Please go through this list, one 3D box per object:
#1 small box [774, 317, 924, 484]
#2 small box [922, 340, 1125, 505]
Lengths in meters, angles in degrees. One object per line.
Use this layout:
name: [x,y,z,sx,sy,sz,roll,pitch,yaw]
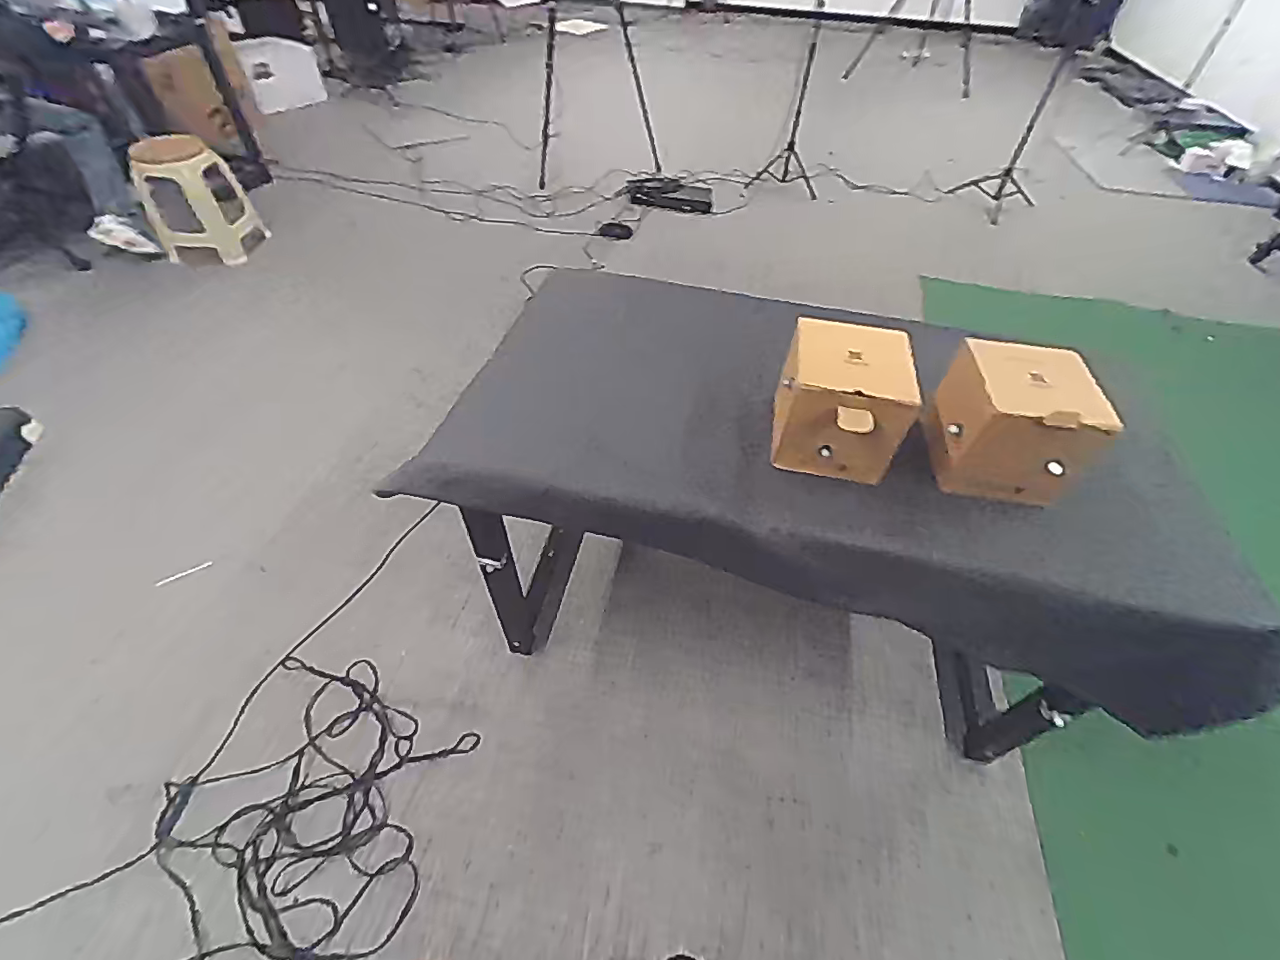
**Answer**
small box: [0.308,-0.122,0.836,0.168,0.176,0.179,10,49,6]
small box: [0.556,-0.084,0.817,0.168,0.176,0.179,9,47,3]
